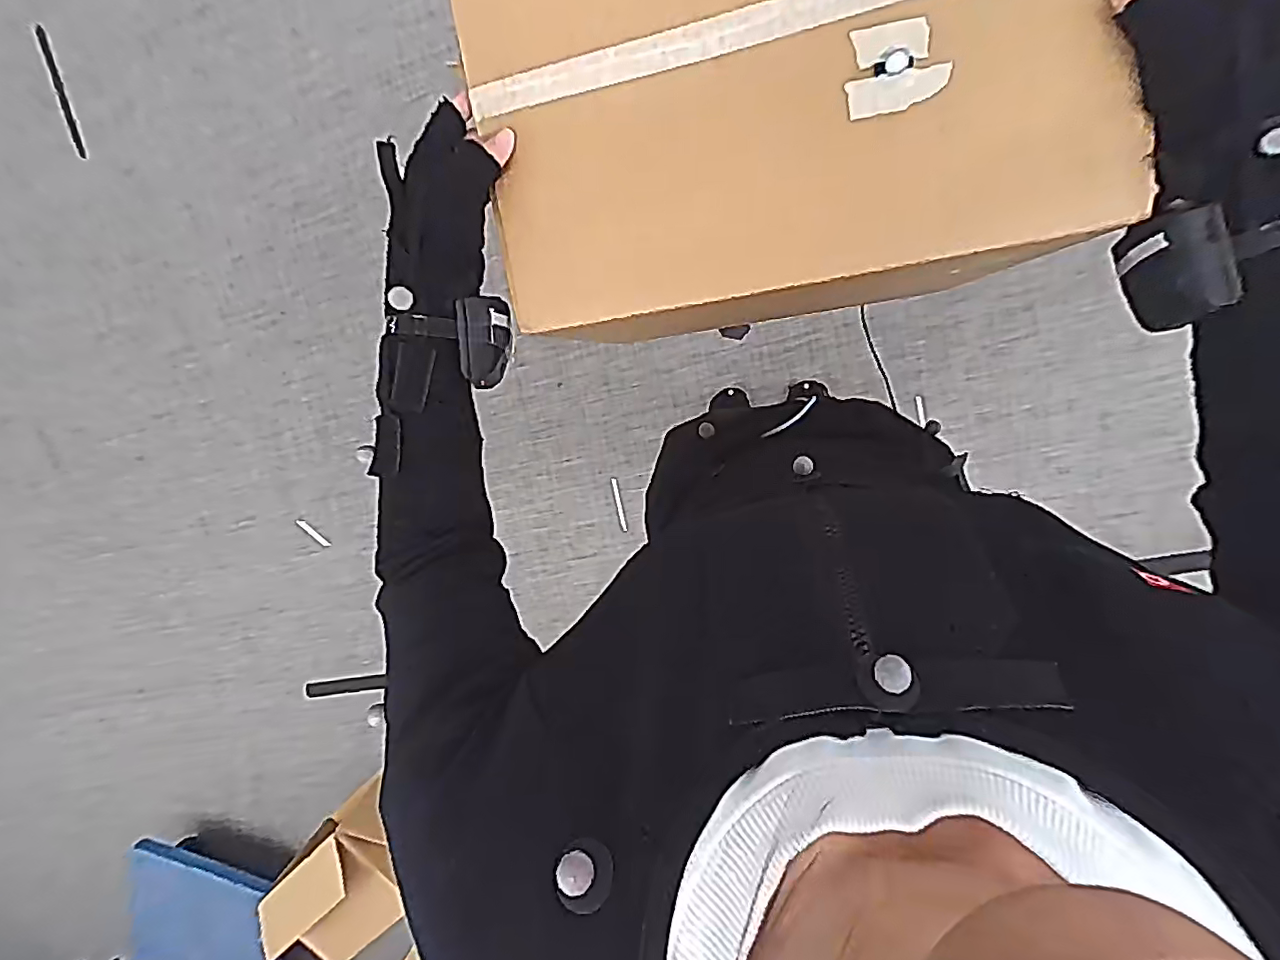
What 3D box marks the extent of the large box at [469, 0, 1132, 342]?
[{"bbox_3d":[0.109,-0.321,0.489,0.408,0.320,0.320,-7,101,11],"label":"large box"}]
